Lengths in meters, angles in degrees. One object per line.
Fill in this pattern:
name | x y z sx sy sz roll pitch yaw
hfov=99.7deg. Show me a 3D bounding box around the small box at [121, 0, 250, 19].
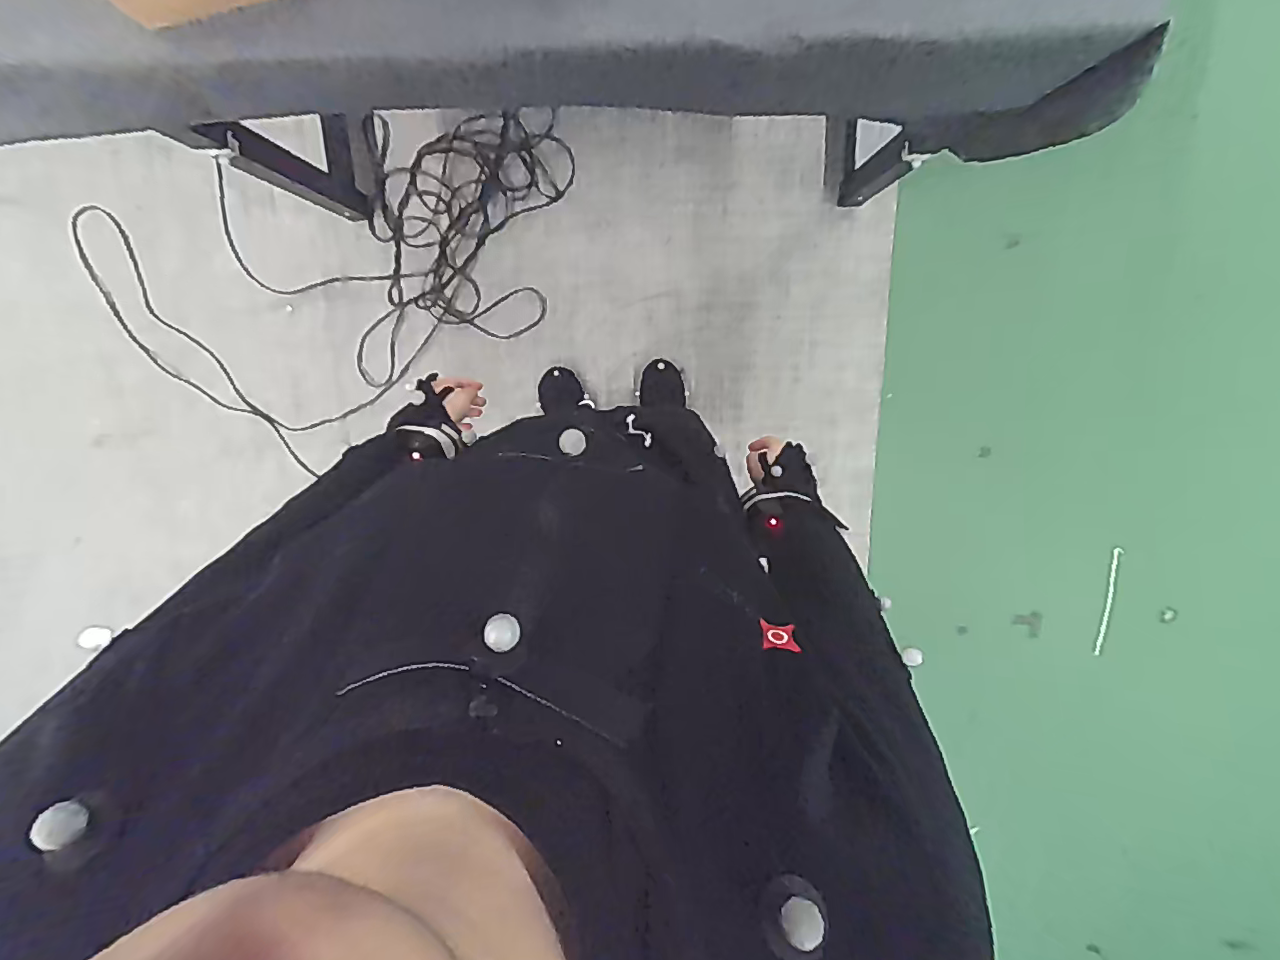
small box | -0.404 -0.517 0.424 0.179 0.176 0.168 -12 102 2
